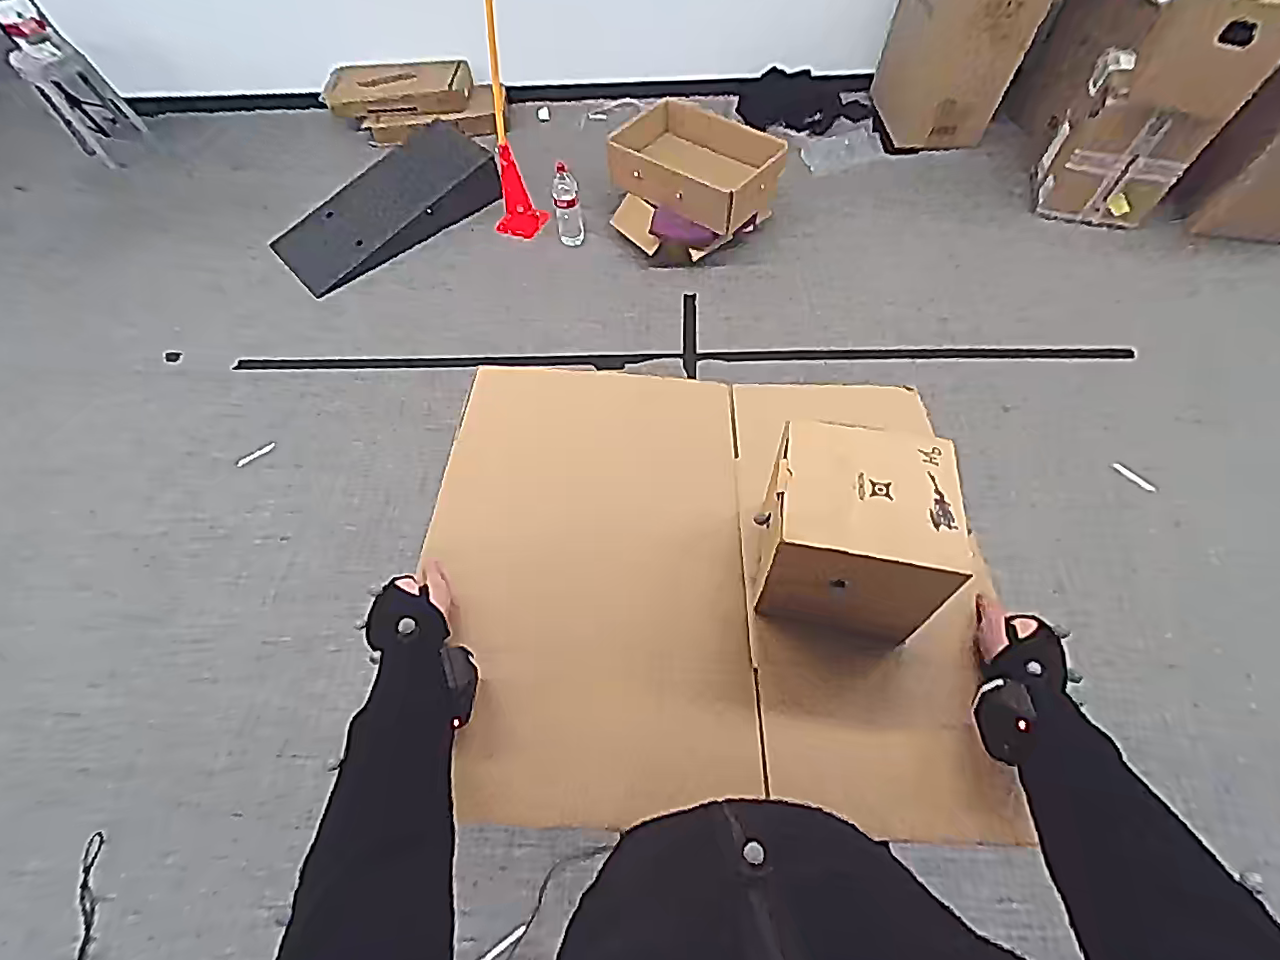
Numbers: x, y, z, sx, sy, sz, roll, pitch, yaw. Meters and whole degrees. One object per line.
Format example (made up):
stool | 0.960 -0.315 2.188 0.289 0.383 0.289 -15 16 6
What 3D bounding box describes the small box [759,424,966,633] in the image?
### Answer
small box | 0.237 0.059 0.619 0.179 0.176 0.168 8 55 9
